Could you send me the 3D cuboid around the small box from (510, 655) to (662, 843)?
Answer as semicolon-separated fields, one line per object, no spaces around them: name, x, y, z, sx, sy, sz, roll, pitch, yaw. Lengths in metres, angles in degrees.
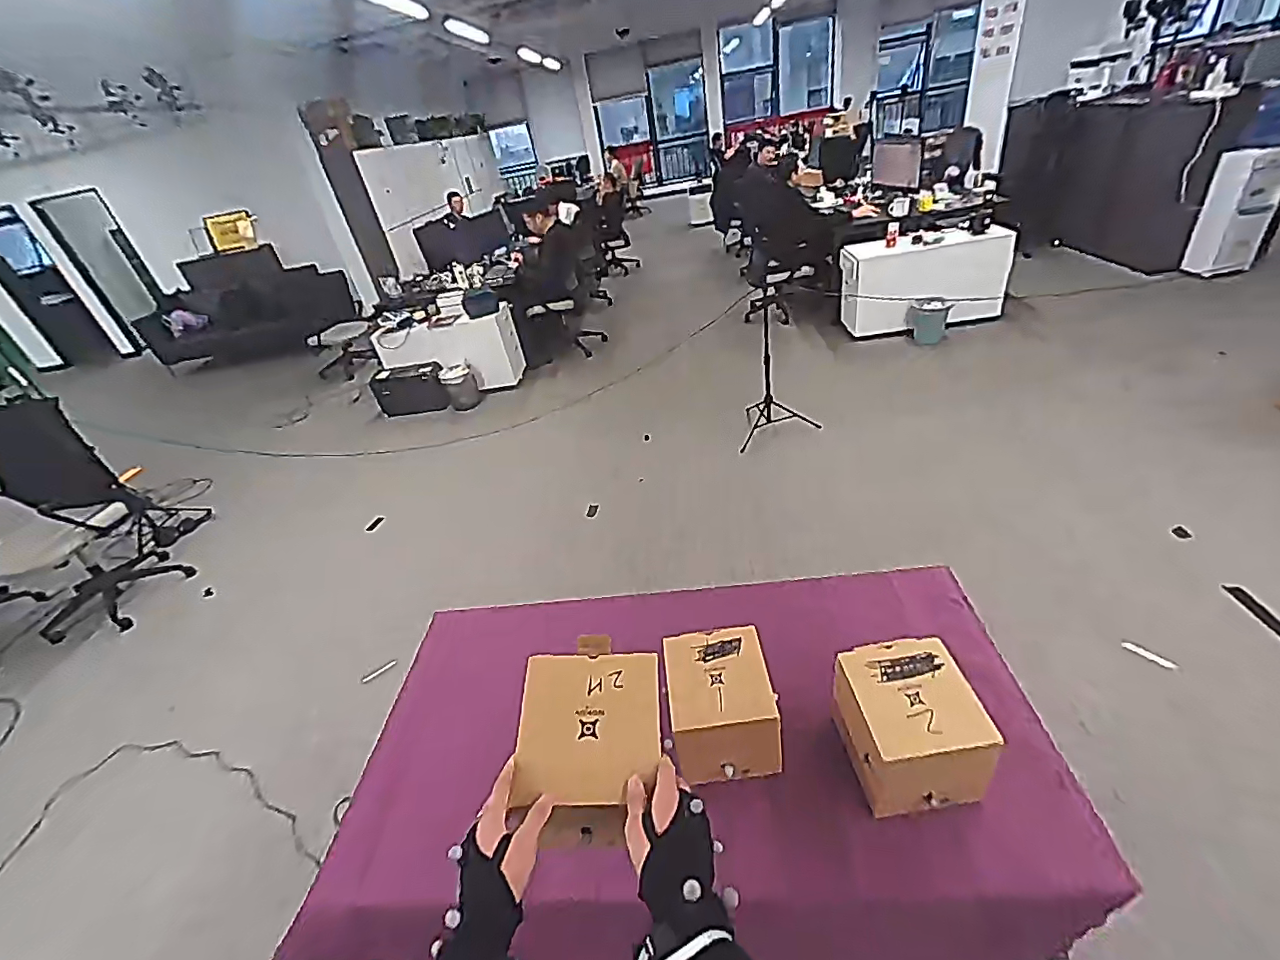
small box;-0.056;0.344;0.689;0.168;0.176;0.179;0;42;0

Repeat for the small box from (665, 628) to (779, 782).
small box;0.138;0.387;0.934;0.168;0.176;0.179;-9;34;3
